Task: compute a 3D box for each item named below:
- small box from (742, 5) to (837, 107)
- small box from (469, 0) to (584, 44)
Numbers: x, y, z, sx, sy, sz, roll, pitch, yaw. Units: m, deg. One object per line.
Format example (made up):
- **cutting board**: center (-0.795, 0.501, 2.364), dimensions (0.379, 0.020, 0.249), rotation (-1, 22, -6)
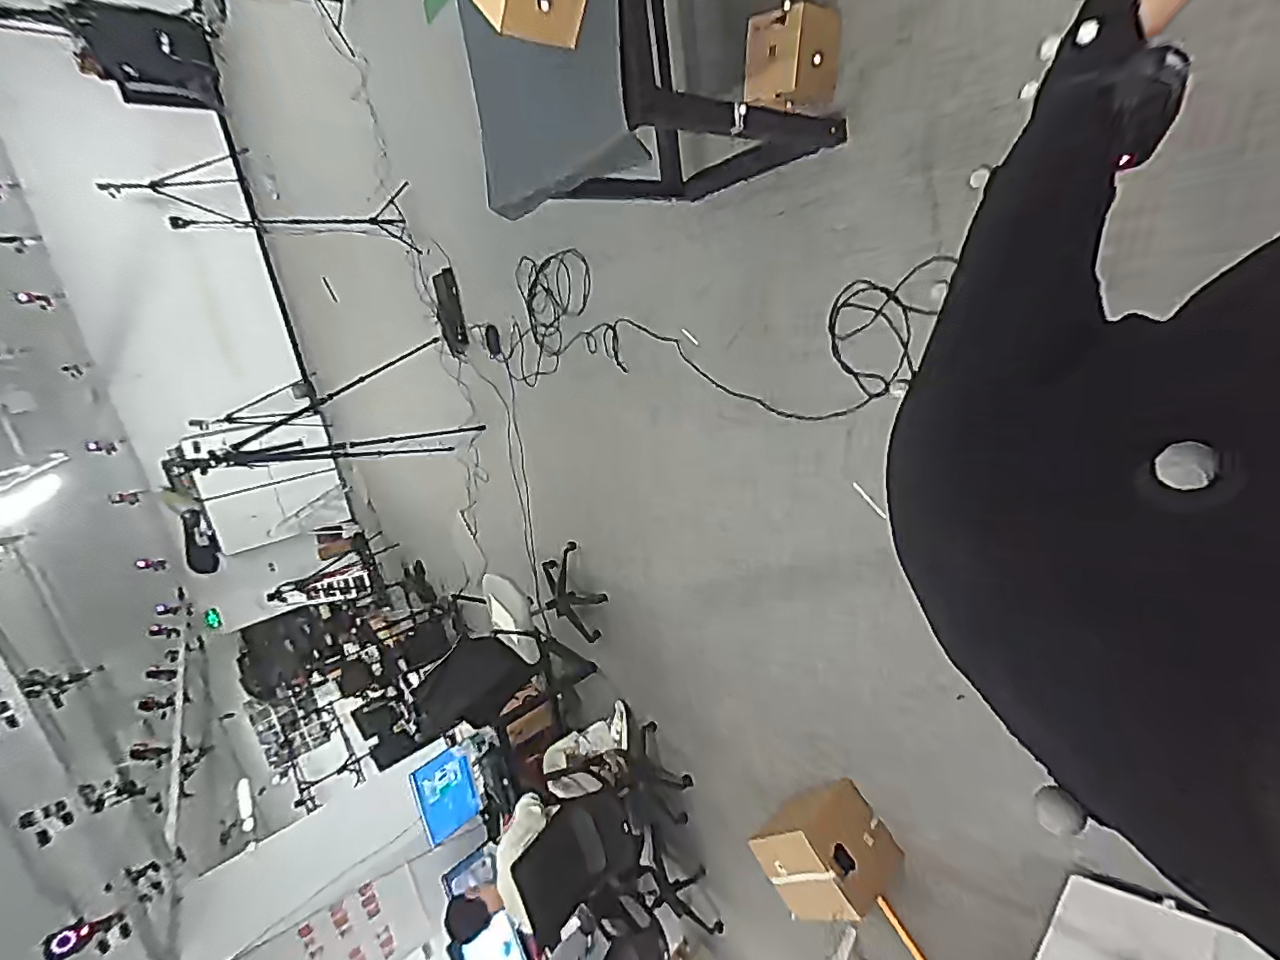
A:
- **small box**: center (0.385, -1.075, 1.389), dimensions (0.168, 0.176, 0.179), rotation (26, 127, 43)
- **small box**: center (-0.205, -0.932, 0.980), dimensions (0.179, 0.176, 0.168), rotation (56, 142, 18)
